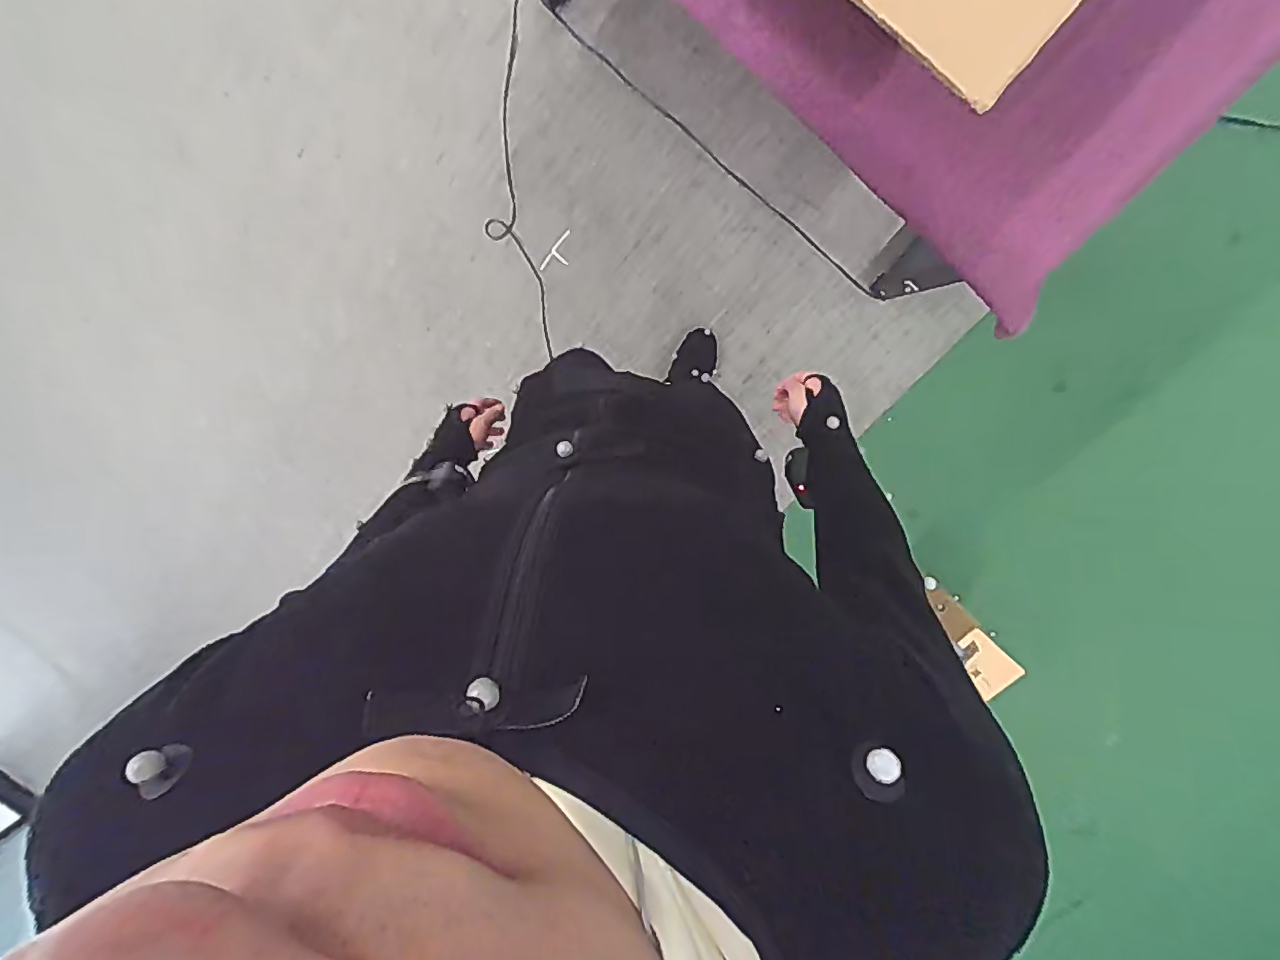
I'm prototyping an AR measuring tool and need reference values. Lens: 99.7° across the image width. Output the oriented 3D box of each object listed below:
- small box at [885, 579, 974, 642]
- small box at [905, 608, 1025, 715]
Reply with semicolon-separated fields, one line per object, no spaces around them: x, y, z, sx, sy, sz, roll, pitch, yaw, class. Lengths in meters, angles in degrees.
0.851;0.419;1.565;0.179;0.176;0.168;41;105;-4;small box
0.833;0.458;1.407;0.179;0.176;0.168;41;105;-5;small box
